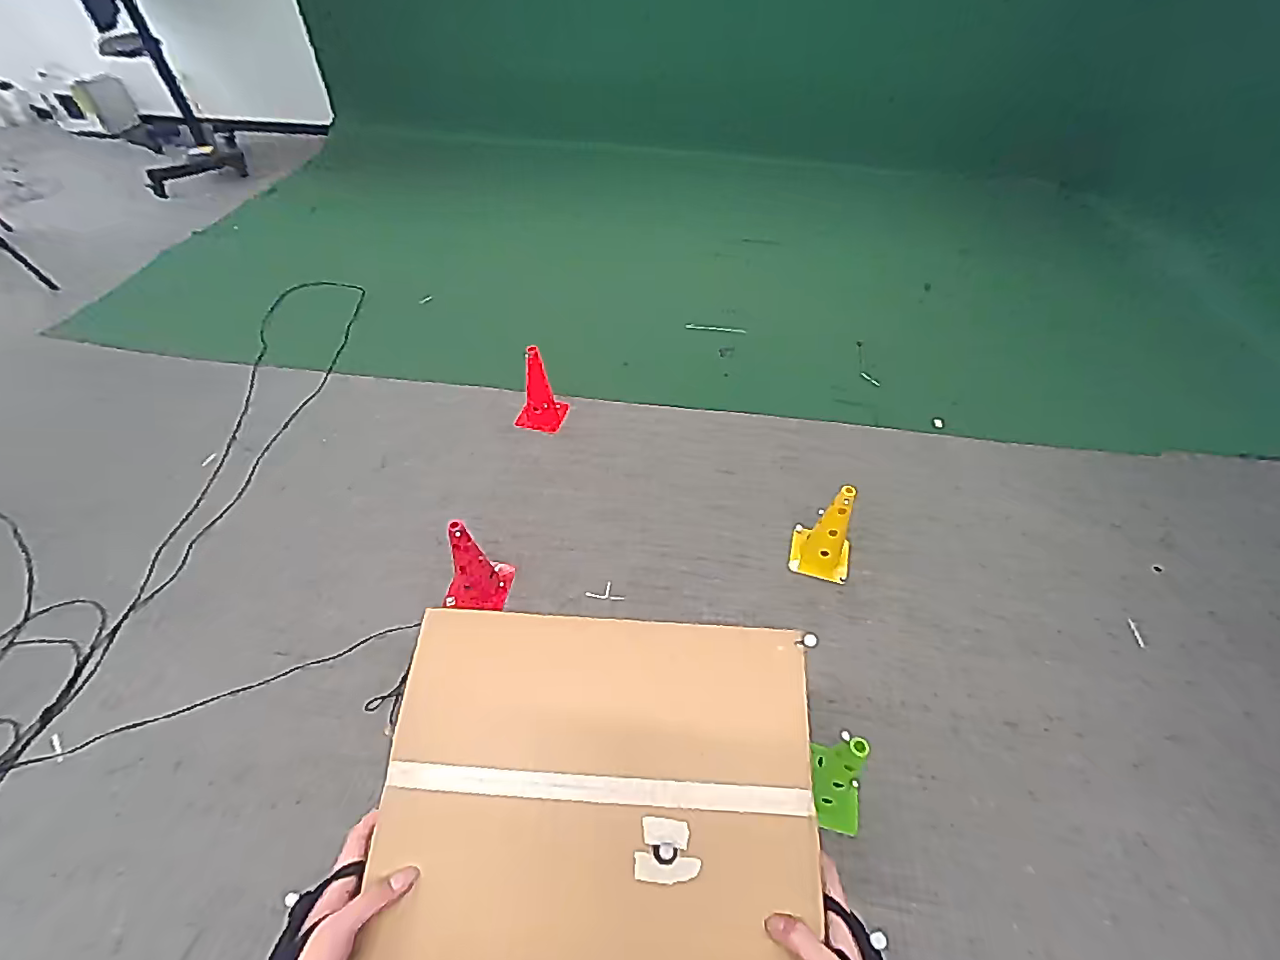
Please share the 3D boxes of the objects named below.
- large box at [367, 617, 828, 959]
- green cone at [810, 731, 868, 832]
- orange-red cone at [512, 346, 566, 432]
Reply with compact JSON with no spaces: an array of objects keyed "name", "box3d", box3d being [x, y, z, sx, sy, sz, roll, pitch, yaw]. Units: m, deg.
[{"name":"large box","box3d":[-0.033,0.359,0.652,0.408,0.320,0.320,3,66,1]},{"name":"green cone","box3d":[0.487,0.704,1.332,0.200,0.368,0.202,11,48,8]},{"name":"orange-red cone","box3d":[-0.445,-0.403,2.269,0.199,0.360,0.198,11,49,10]}]
